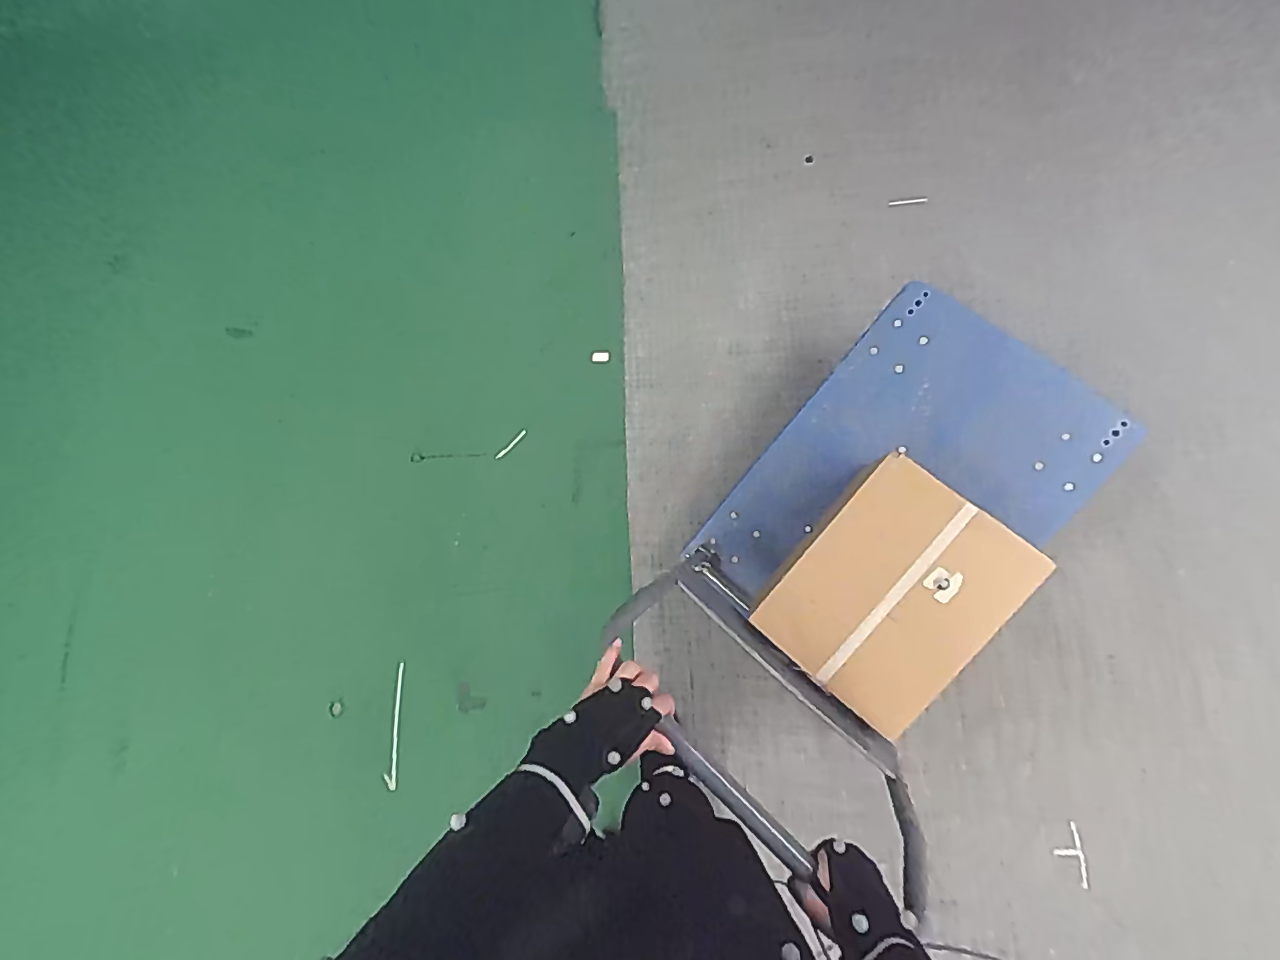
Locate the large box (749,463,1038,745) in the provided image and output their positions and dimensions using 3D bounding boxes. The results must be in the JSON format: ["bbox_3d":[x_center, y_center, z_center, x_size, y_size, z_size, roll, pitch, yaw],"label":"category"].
[{"bbox_3d":[0.469,0.229,1.097,0.320,0.320,0.408,41,96,13],"label":"large box"}]
